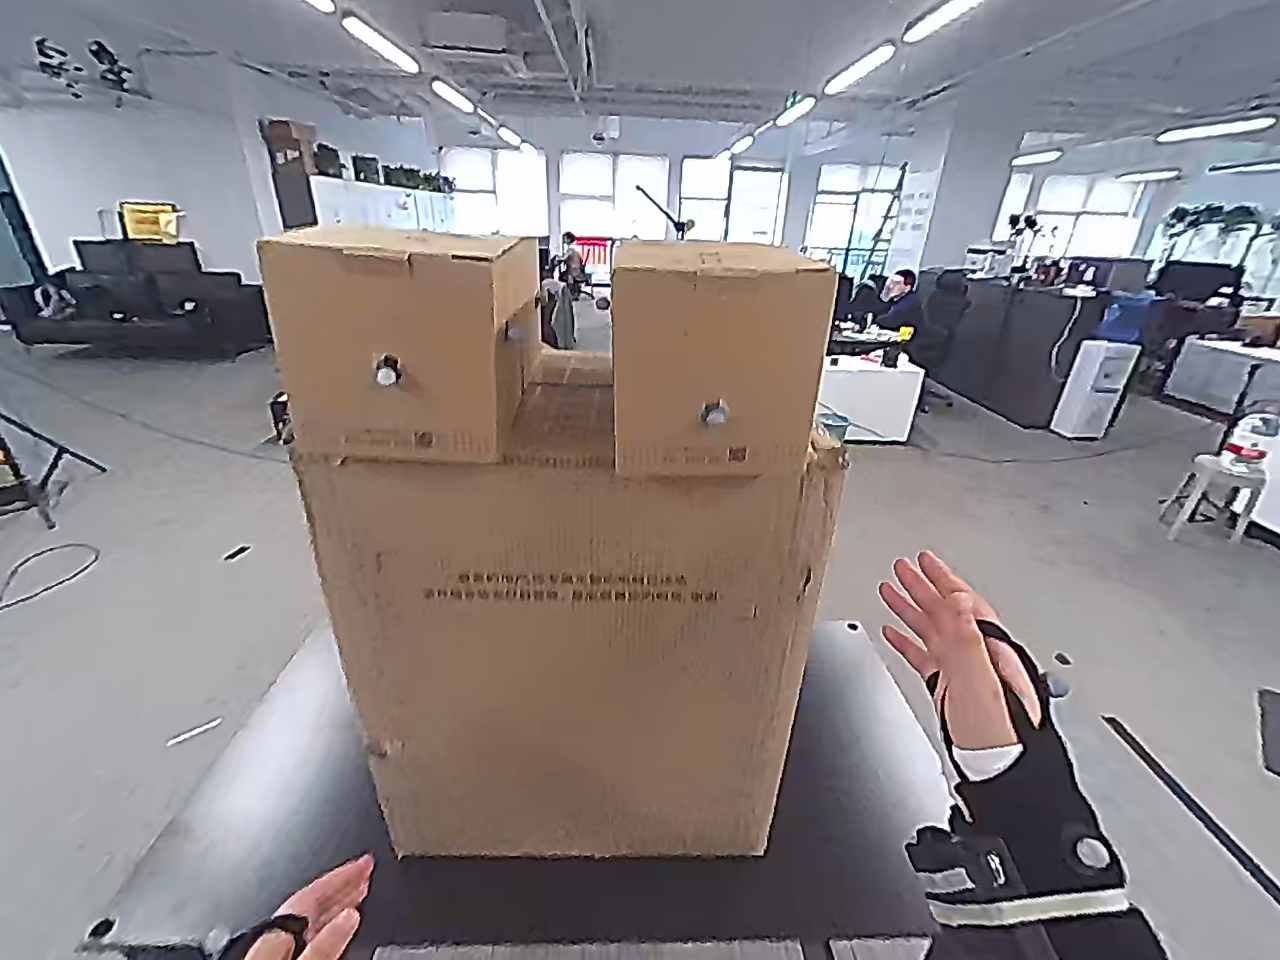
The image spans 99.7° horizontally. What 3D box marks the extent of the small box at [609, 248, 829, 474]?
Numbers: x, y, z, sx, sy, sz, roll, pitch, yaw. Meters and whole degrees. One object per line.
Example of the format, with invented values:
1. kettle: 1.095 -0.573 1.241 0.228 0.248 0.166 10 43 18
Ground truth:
1. small box: 0.055 -0.117 0.505 0.168 0.176 0.179 -1 29 -2

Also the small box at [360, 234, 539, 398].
1. small box: -0.219 -0.208 0.674 0.168 0.176 0.179 0 26 -4
